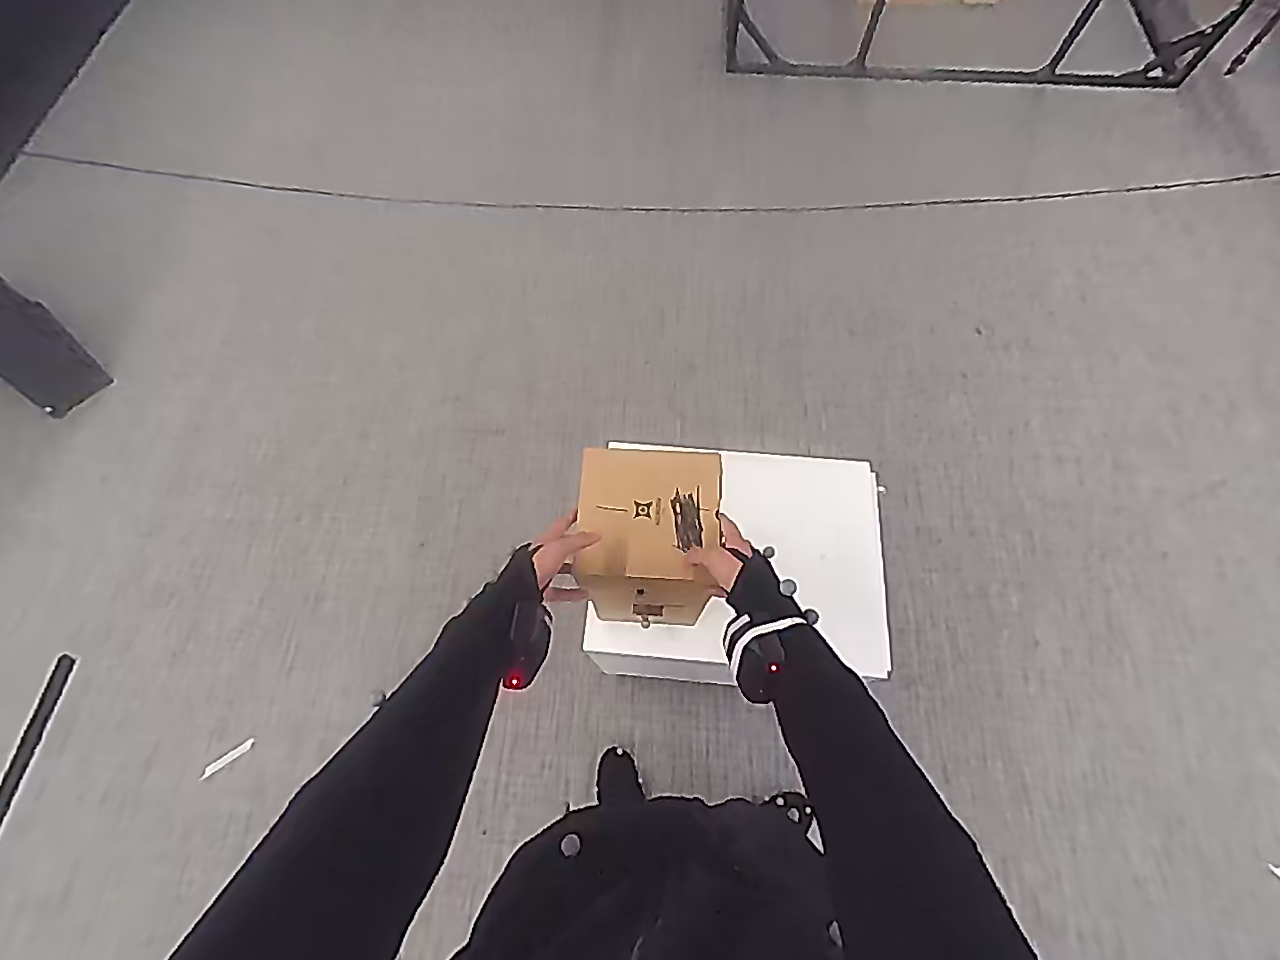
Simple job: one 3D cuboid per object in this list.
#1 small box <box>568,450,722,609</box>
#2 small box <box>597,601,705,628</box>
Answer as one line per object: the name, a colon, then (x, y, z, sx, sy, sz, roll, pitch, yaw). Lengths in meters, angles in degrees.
small box: (0.009, 0.072, 0.712, 0.179, 0.176, 0.168, 2, 67, 2)
small box: (0.017, 0.132, 0.869, 0.168, 0.176, 0.179, 3, 67, 2)
